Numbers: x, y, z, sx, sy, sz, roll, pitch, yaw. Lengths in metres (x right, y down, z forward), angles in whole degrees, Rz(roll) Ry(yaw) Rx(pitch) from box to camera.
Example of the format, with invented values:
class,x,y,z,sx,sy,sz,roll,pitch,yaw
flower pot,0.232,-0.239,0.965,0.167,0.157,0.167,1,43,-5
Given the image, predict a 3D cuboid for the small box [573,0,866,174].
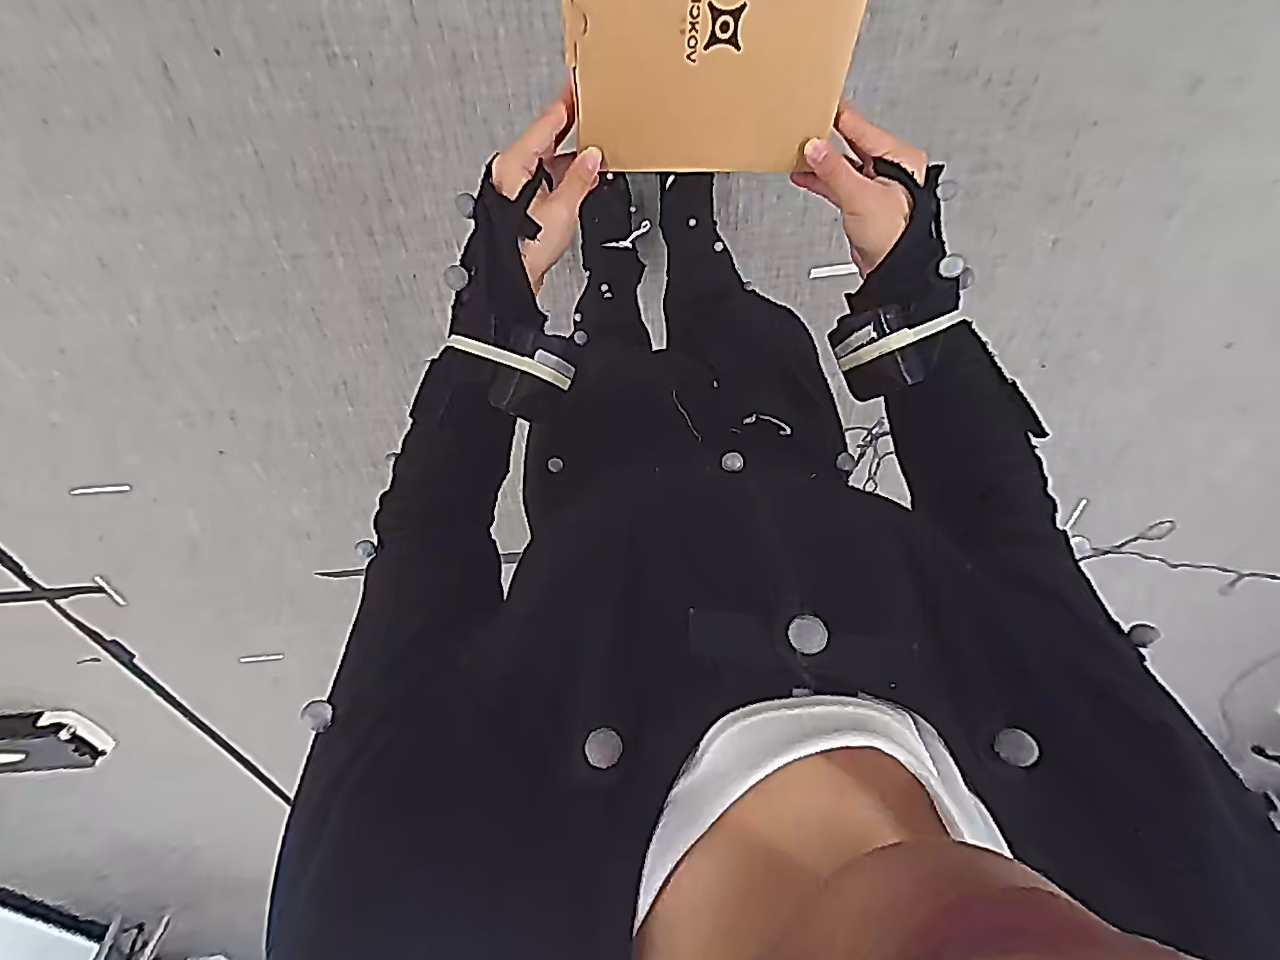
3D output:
class,x,y,z,sx,sy,sz,roll,pitch,yaw
small box,0.042,-0.336,0.372,0.179,0.176,0.168,-2,144,-3
